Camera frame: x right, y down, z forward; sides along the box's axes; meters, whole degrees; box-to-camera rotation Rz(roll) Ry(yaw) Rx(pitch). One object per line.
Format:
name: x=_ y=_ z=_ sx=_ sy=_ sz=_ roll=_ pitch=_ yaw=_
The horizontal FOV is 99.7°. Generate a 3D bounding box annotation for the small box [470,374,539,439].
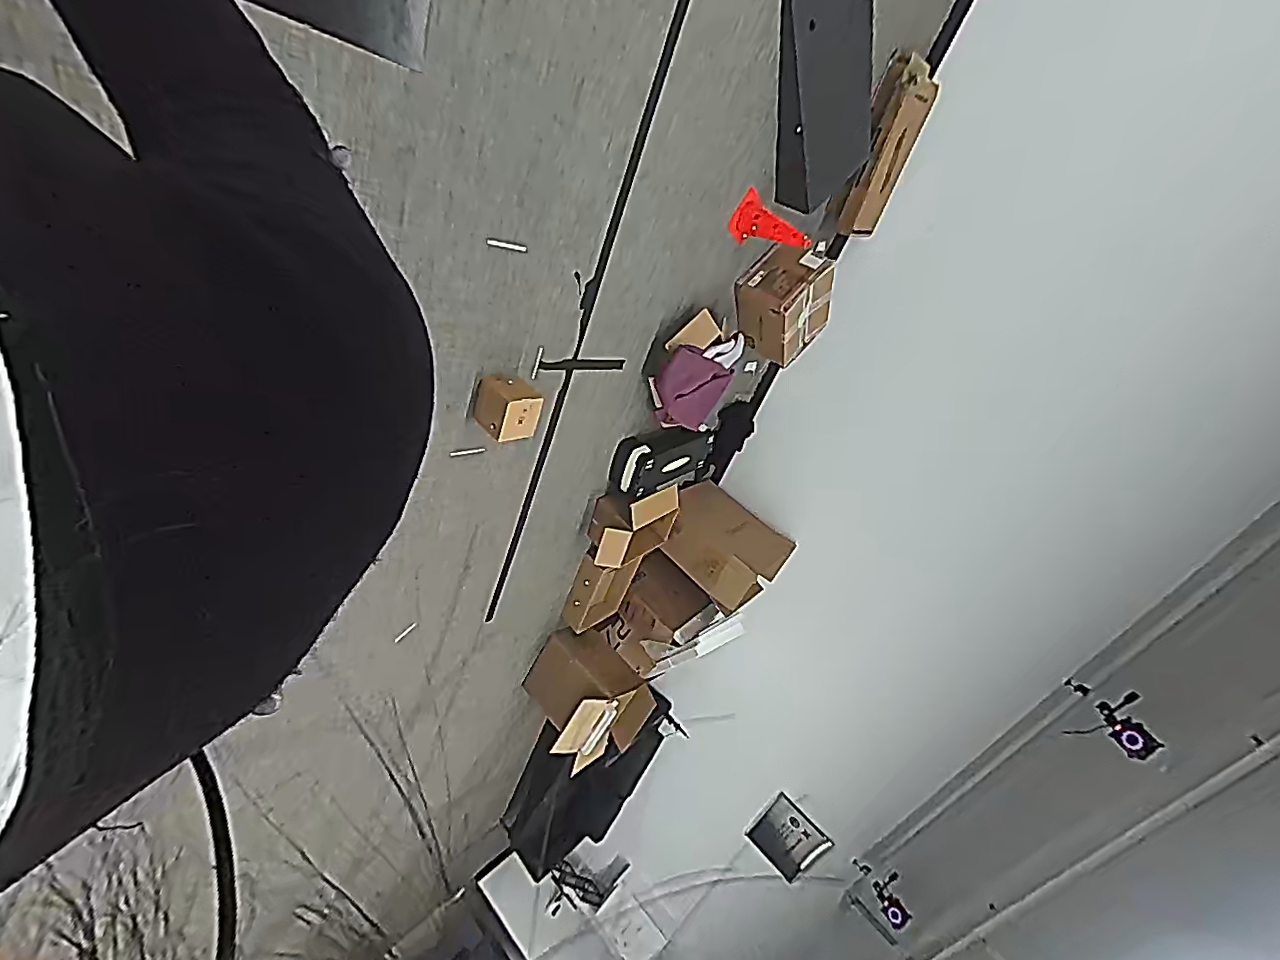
small box: x=-0.512 y=-0.279 z=2.024 sx=0.168 sy=0.176 sz=0.179 roll=-17 pitch=139 yaw=-49
